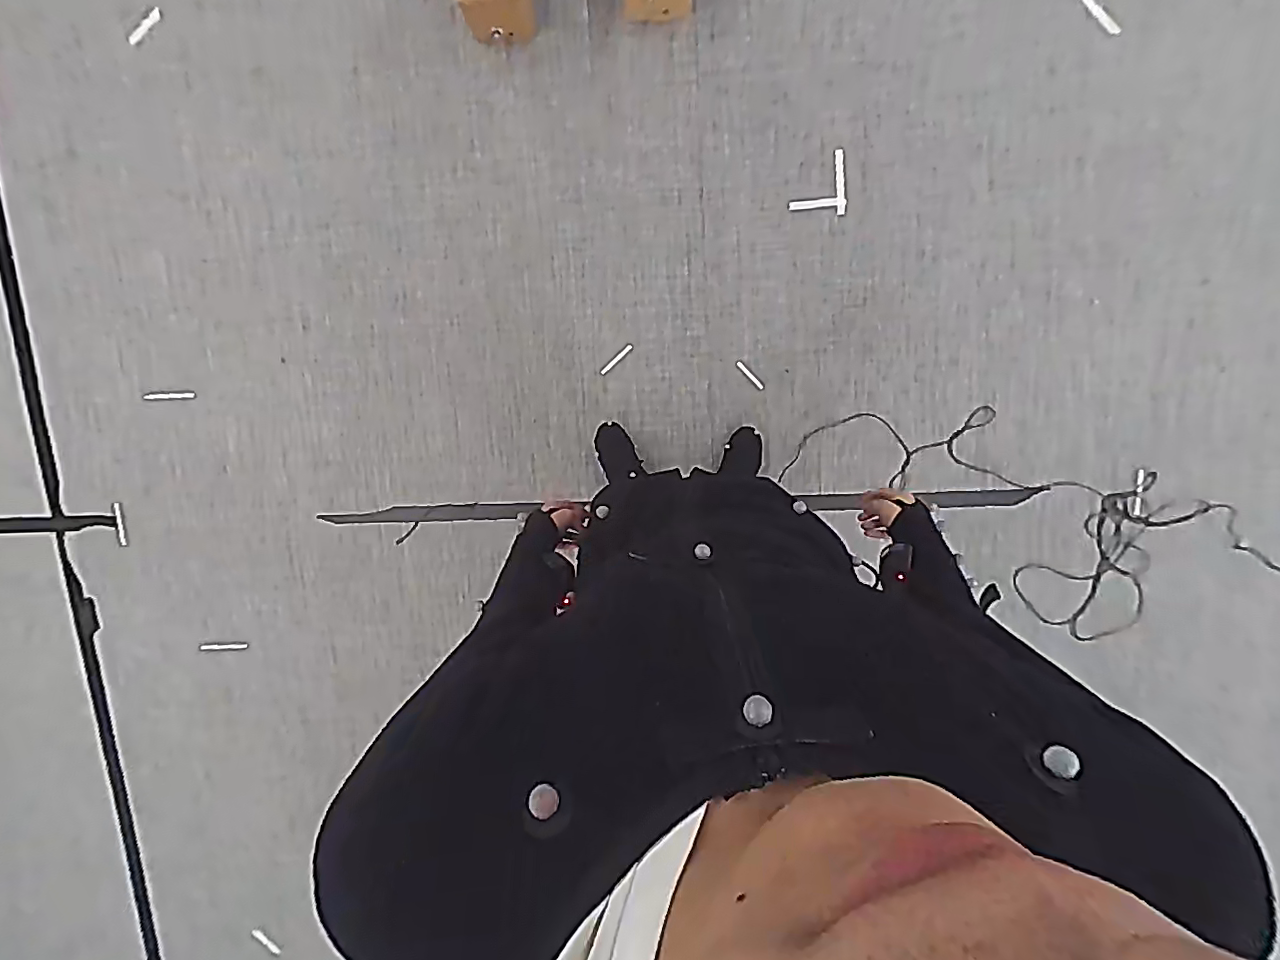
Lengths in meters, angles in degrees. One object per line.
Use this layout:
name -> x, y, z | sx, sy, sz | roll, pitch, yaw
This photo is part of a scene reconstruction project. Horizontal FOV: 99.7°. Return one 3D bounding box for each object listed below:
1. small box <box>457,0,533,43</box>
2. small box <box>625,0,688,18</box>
small box -> -0.378, -1.279, 1.391 | 0.168, 0.176, 0.179 | -2, 97, 3
small box -> 0.039, -1.323, 1.378 | 0.168, 0.176, 0.179 | -4, 97, 1
